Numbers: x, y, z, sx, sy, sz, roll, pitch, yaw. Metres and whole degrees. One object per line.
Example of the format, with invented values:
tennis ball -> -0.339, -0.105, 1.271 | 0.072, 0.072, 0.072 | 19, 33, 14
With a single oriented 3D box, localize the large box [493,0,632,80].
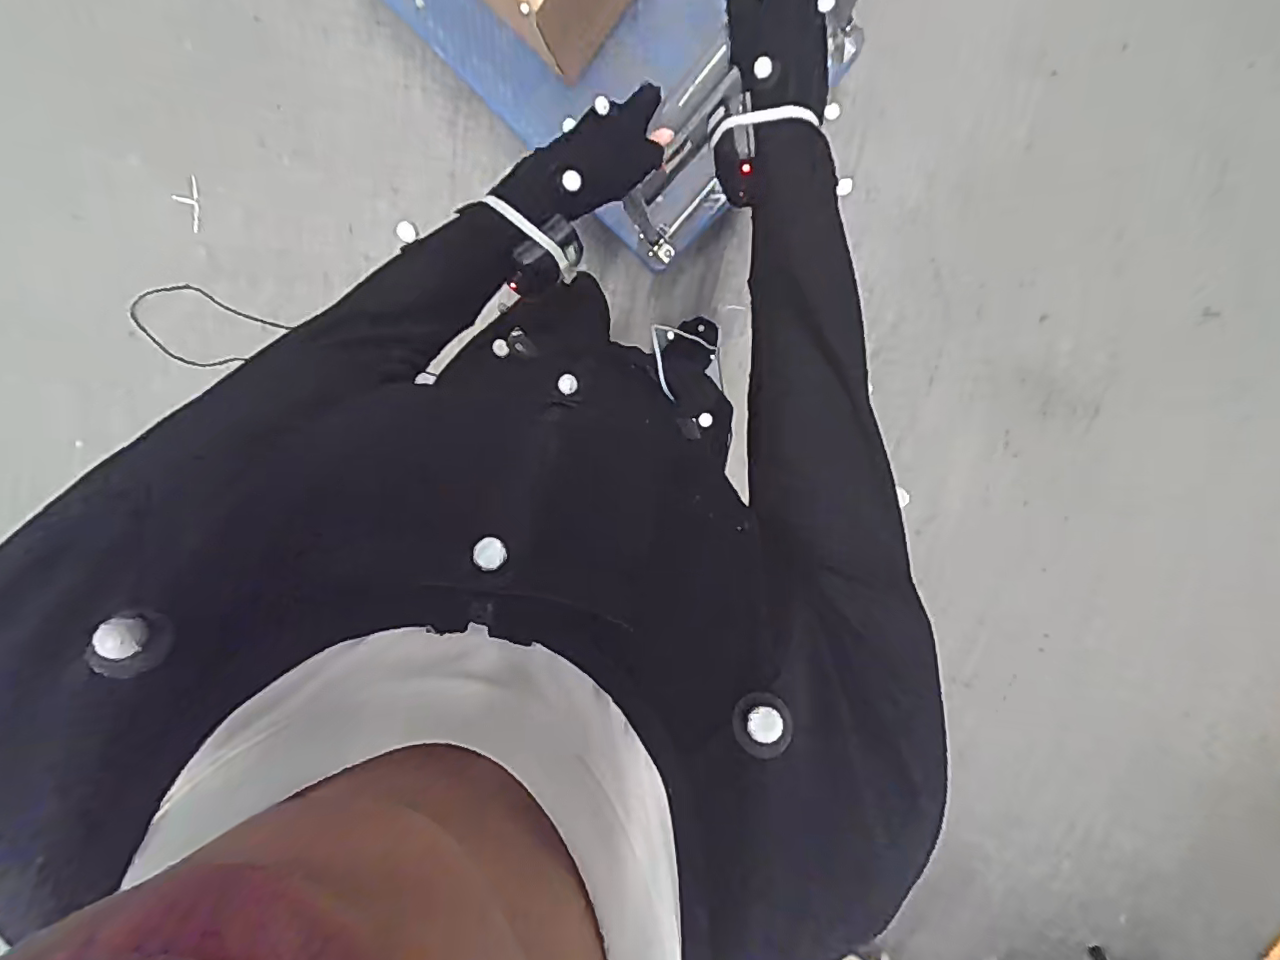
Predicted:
large box -> -0.119, -0.966, 0.845 | 0.320, 0.320, 0.408 | 41, 108, -9
